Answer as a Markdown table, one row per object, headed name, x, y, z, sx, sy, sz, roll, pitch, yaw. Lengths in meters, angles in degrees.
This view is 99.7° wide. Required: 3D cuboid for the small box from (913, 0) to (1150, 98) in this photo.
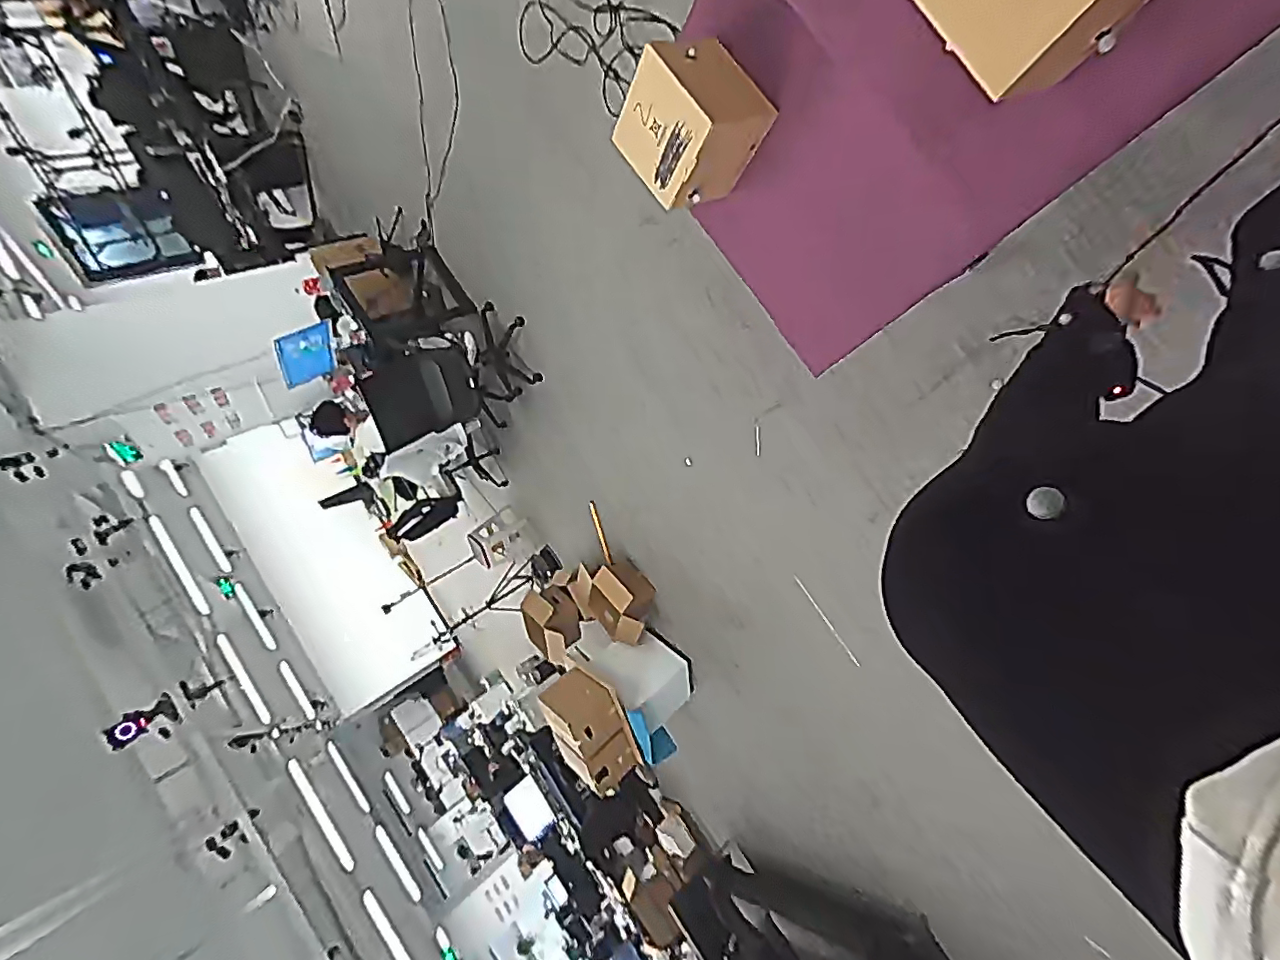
| name | x | y | z | sx | sy | sz | roll | pitch | yaw |
| --- | --- | --- | --- | --- | --- | --- | --- | --- | --- |
| small box | 0.405 | -0.520 | 0.534 | 0.179 | 0.176 | 0.168 | 57 | 149 | 5 |
